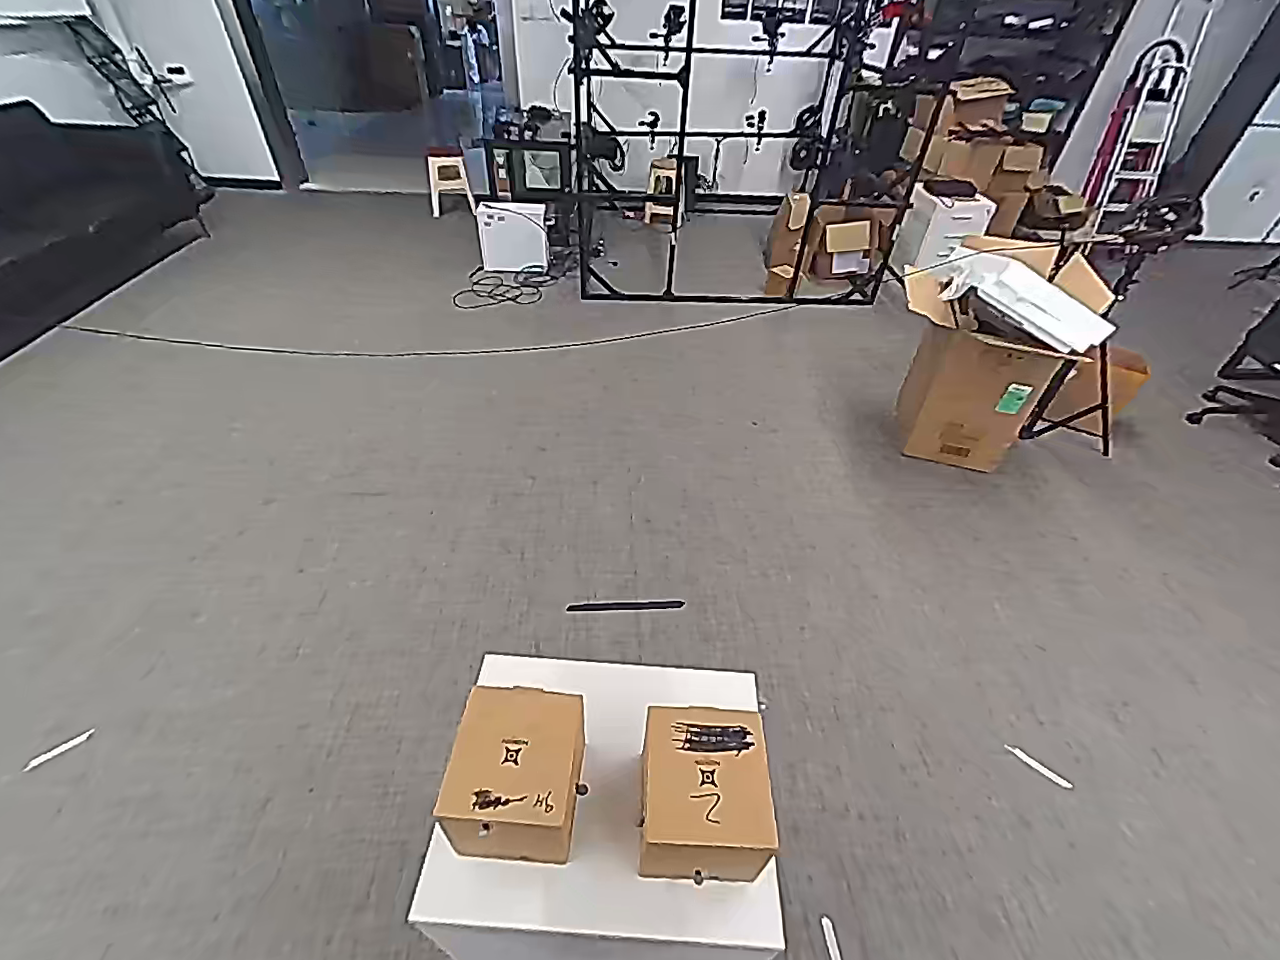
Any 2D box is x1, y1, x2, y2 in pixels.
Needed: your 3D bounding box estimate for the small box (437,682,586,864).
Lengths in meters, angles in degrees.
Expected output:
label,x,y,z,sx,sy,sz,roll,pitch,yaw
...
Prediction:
label,x,y,z,sx,sy,sz,roll,pitch,yaw
small box,-0.172,0.424,0.786,0.168,0.176,0.179,5,41,2
